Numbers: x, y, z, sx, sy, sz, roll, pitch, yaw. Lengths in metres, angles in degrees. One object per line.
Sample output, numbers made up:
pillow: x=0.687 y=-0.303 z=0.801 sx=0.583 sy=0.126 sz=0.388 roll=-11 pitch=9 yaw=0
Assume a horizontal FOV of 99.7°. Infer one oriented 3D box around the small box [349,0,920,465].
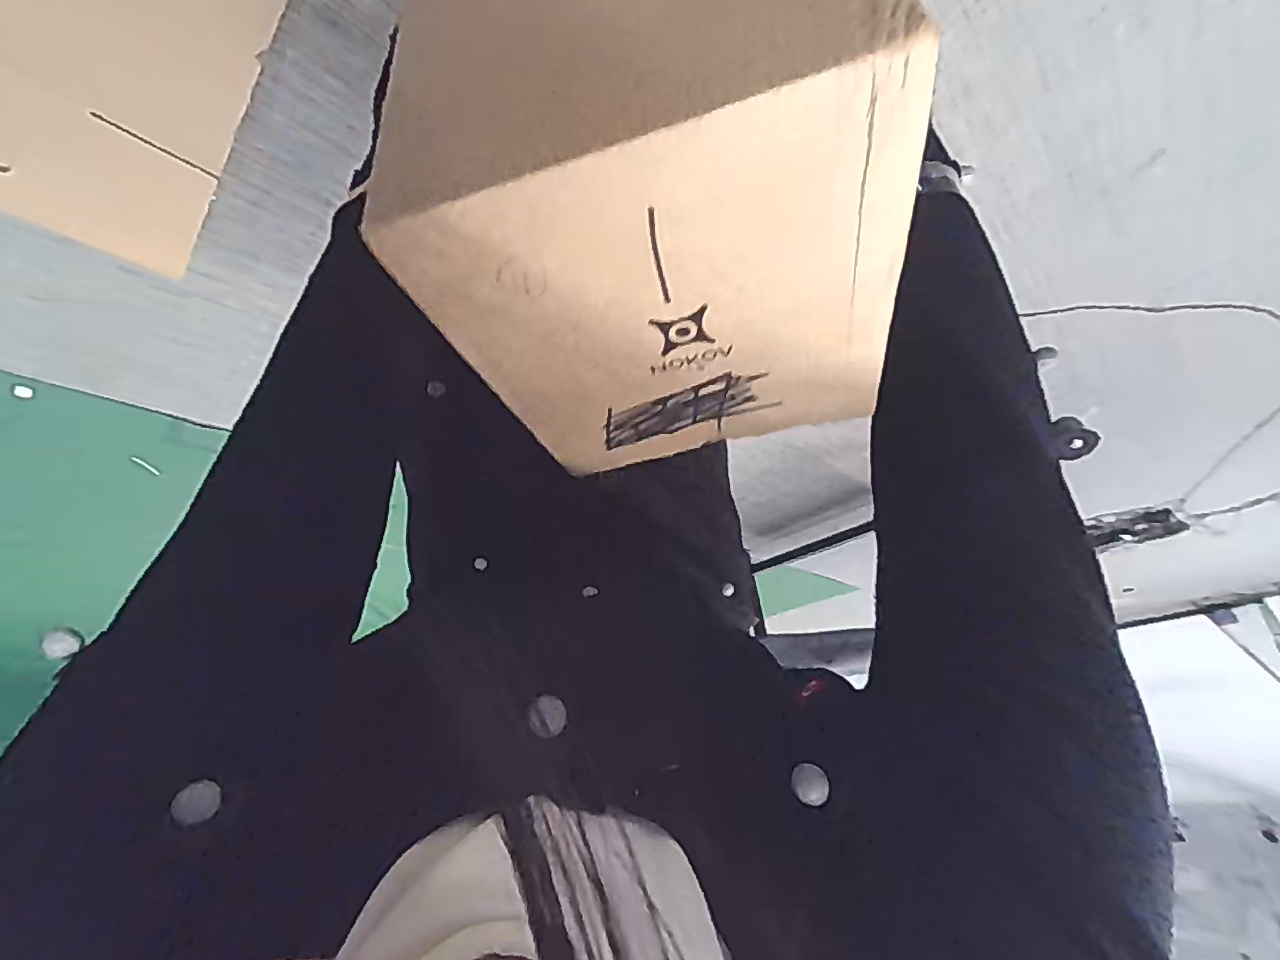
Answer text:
small box: x=0.006 y=-0.131 z=0.255 sx=0.168 sy=0.176 sz=0.179 roll=-12 pitch=151 yaw=11
